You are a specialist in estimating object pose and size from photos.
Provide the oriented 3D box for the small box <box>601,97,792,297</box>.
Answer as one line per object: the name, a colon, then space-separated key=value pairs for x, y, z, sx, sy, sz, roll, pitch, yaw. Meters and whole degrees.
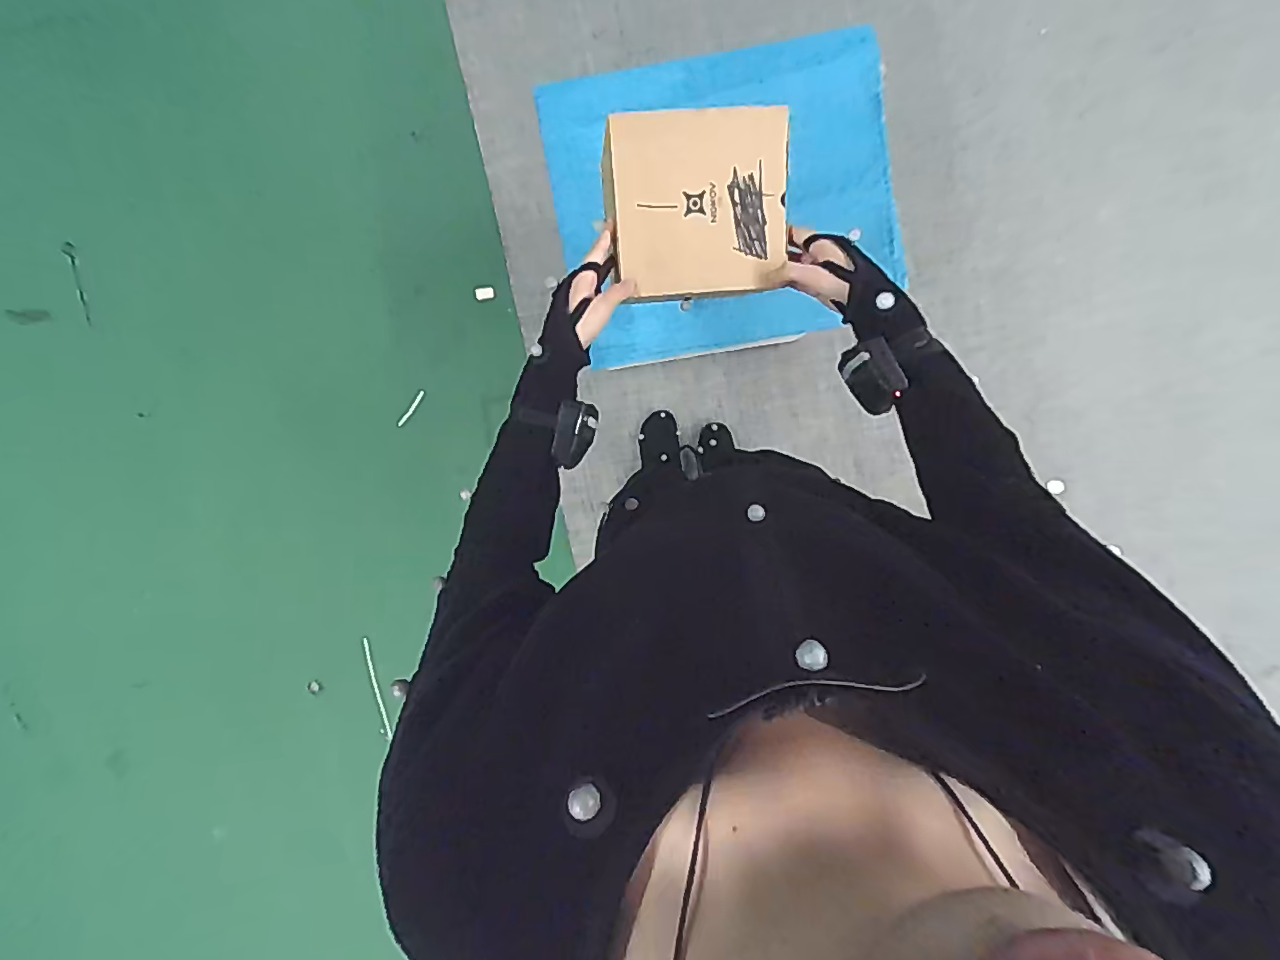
small box: x=0.053 y=-0.296 z=0.597 sx=0.179 sy=0.176 sz=0.168 roll=-6 pitch=106 yaw=-5
